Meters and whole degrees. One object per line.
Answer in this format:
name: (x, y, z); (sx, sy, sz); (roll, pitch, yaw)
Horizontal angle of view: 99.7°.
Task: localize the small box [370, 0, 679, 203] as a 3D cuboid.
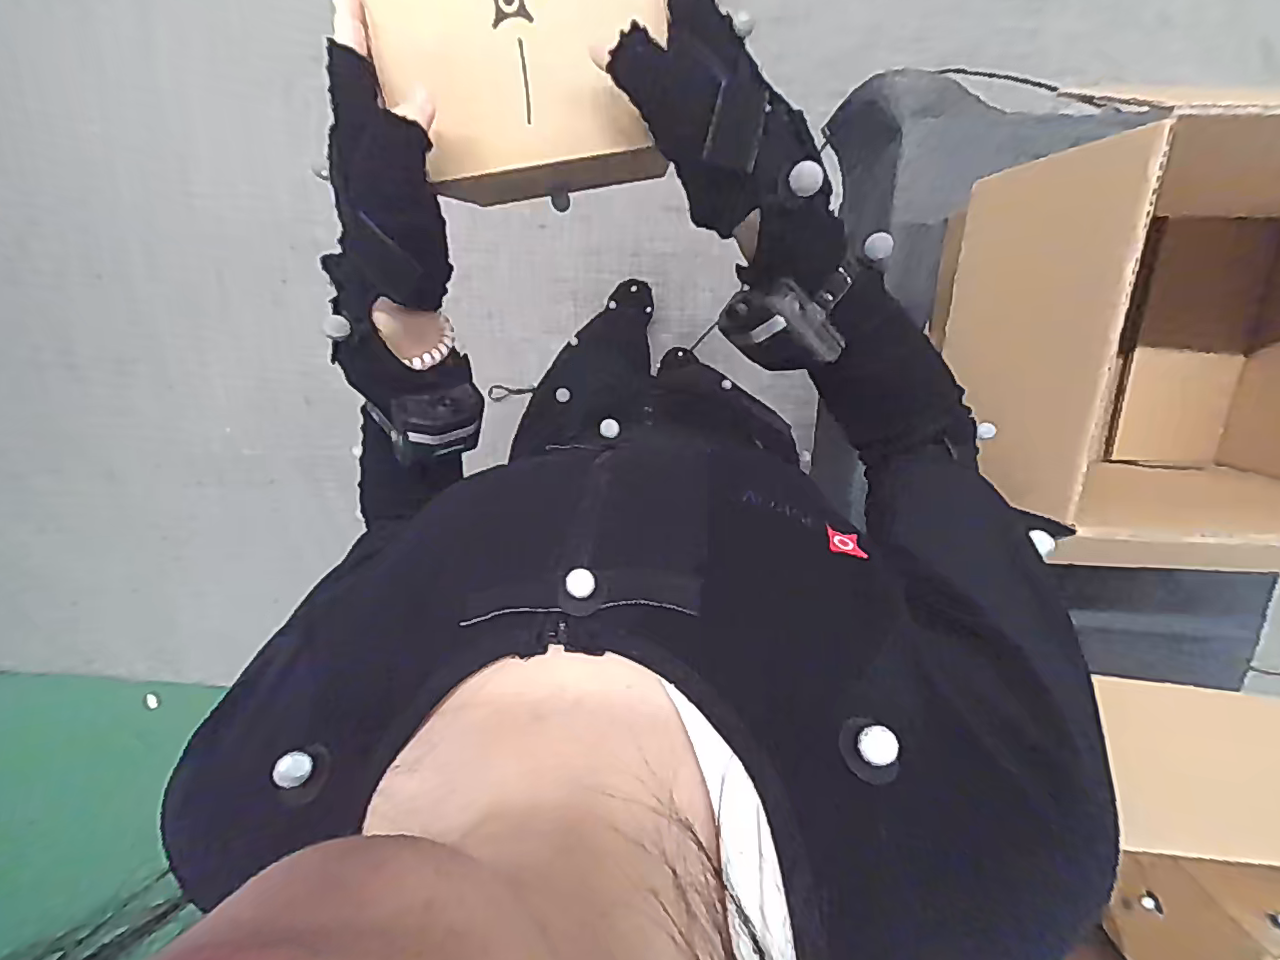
small box: (-0.069, -0.301, 0.367); (0.168, 0.176, 0.179); (-7, 113, 2)
